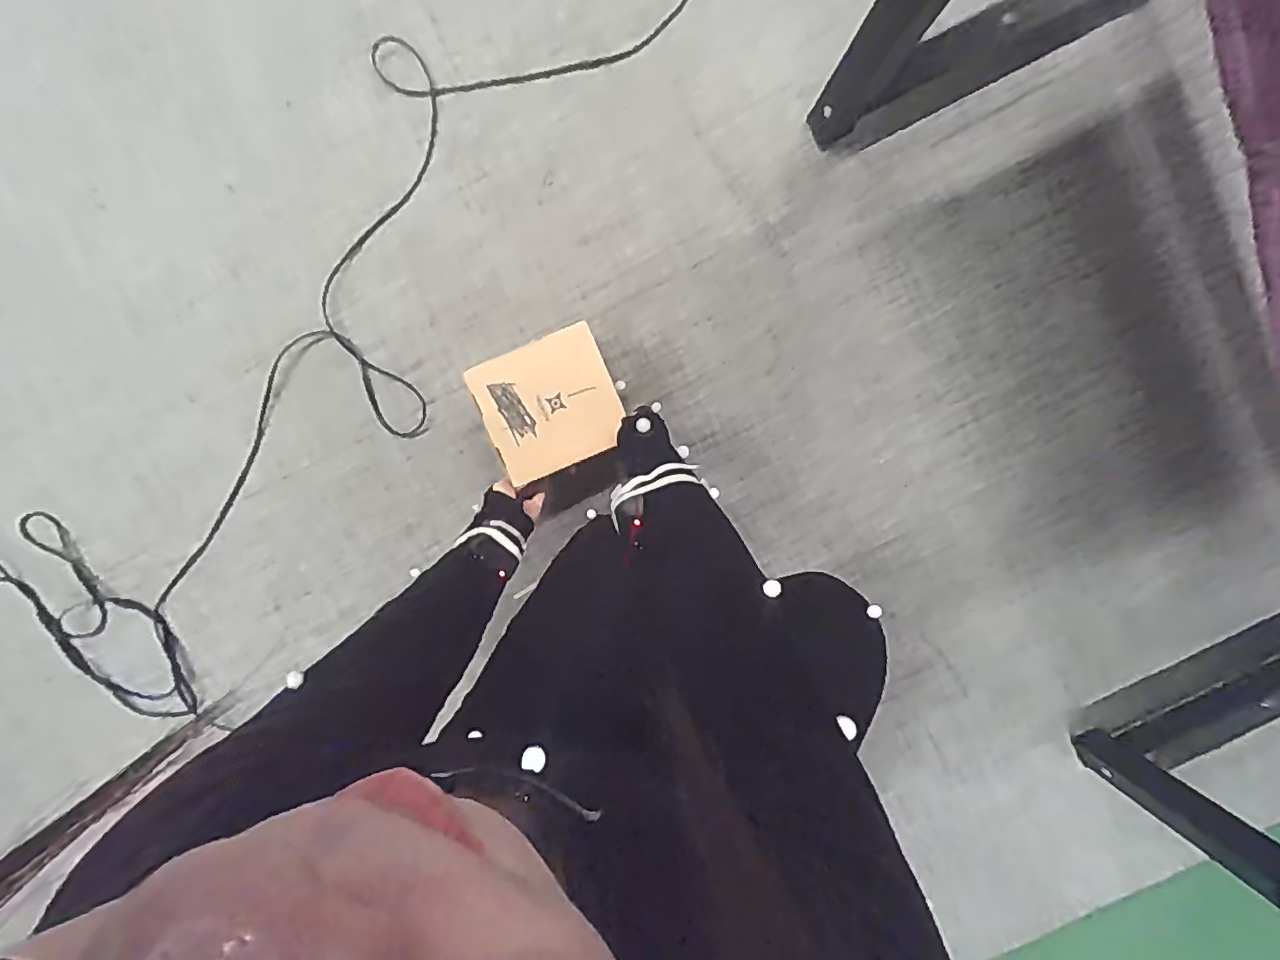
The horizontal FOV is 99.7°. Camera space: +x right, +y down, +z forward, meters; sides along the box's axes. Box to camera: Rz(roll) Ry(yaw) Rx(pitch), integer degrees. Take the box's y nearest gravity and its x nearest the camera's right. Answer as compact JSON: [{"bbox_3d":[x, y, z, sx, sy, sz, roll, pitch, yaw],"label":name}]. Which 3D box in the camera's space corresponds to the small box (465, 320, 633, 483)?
[{"bbox_3d":[-0.120,-0.108,0.782,0.179,0.176,0.168,-23,97,0],"label":"small box"}]

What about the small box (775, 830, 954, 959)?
[{"bbox_3d":[0.300,0.607,0.714,0.168,0.176,0.179,-25,98,2],"label":"small box"}]
